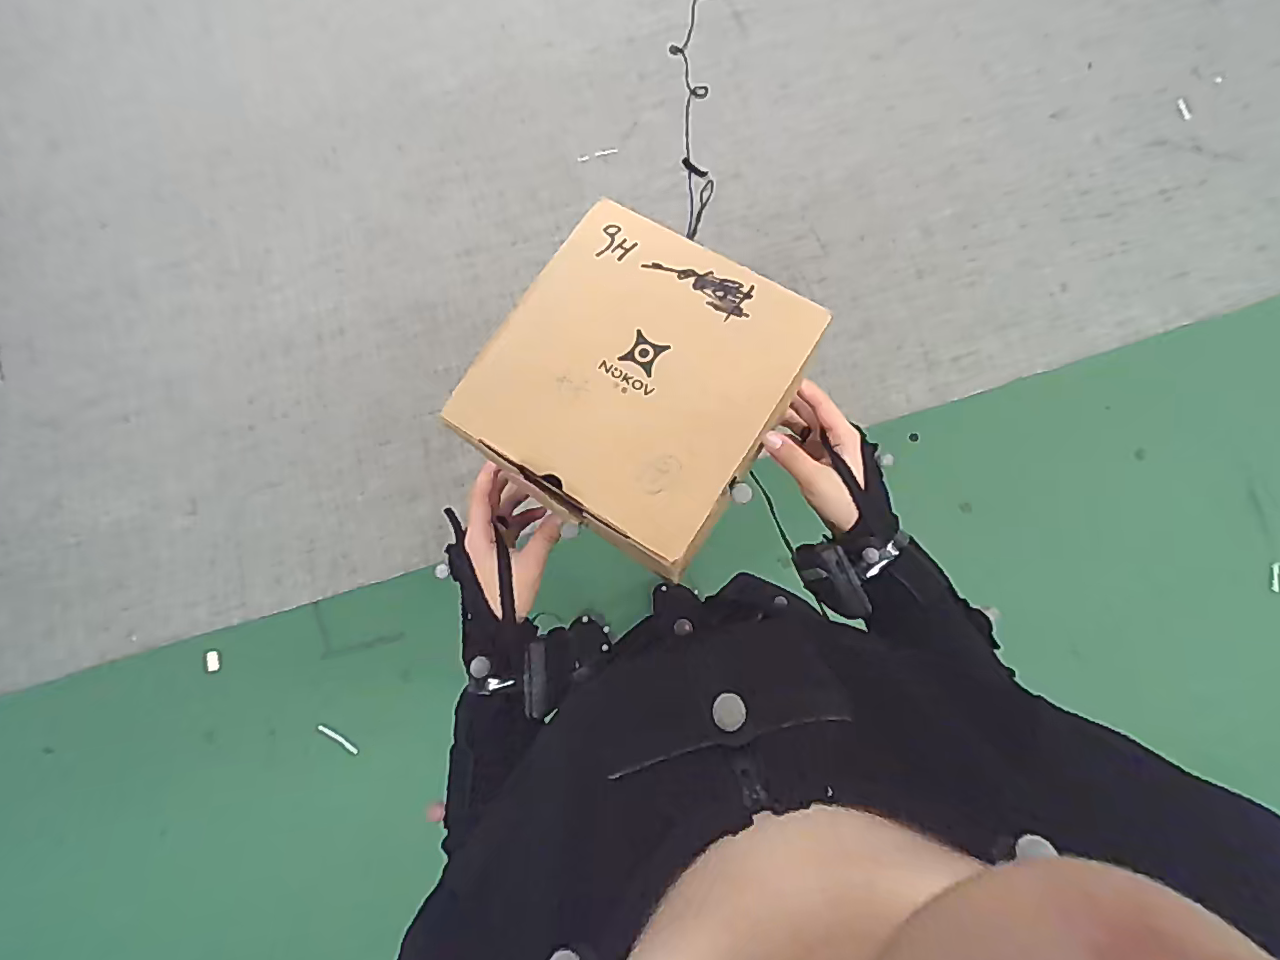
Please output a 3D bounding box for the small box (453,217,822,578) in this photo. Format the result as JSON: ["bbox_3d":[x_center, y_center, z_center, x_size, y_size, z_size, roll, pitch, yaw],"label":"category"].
[{"bbox_3d":[0.005,-0.042,0.402,0.168,0.176,0.179,31,80,11],"label":"small box"}]
